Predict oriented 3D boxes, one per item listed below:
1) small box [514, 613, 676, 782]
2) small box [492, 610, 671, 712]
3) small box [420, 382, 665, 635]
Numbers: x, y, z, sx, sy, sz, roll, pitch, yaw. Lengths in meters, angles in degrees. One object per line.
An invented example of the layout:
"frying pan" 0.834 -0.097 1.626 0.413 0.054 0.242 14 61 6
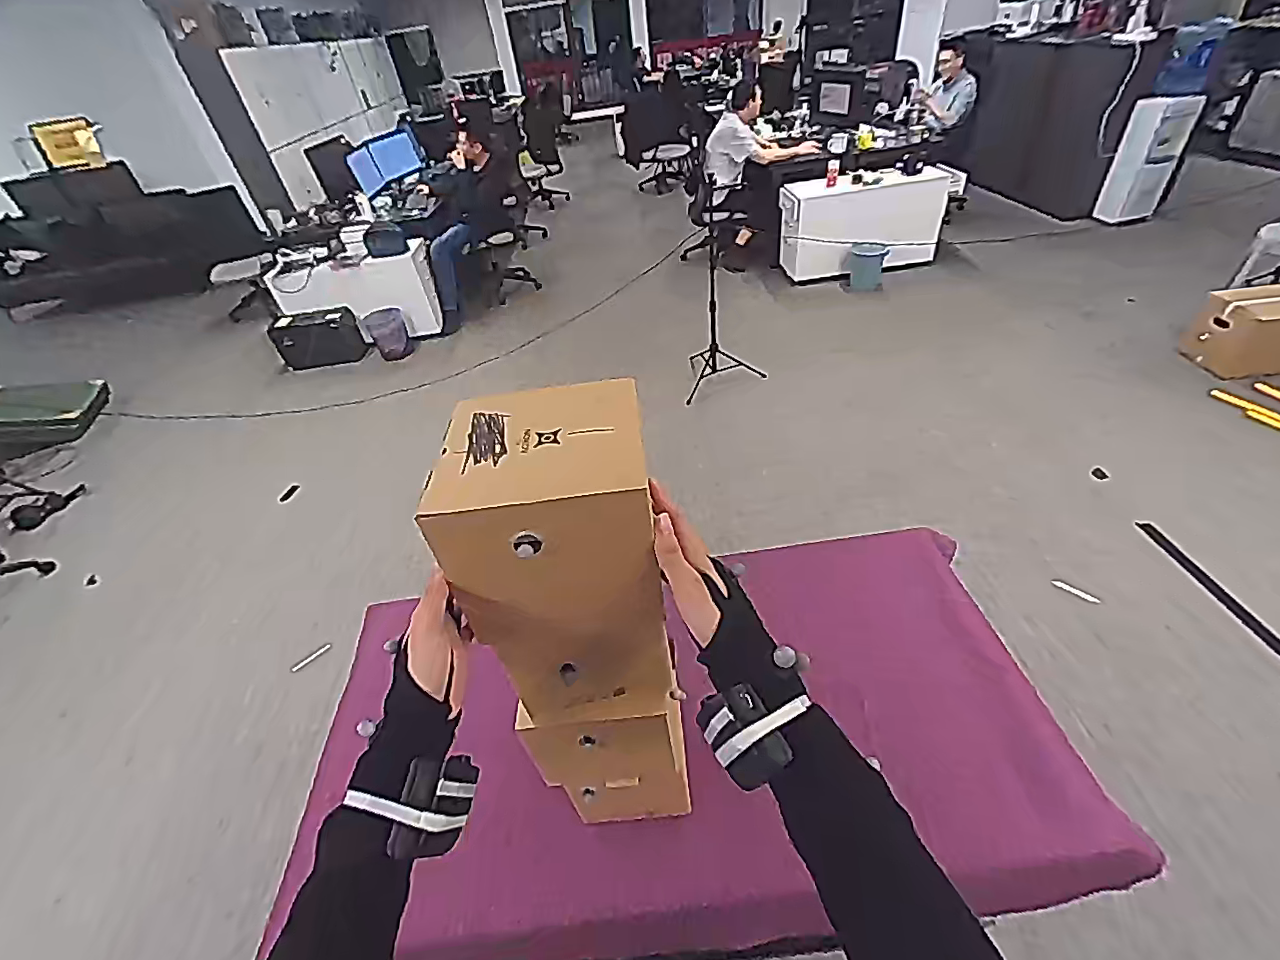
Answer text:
"small box" -0.051 0.281 0.719 0.179 0.176 0.168 -6 40 2
"small box" -0.064 0.146 0.628 0.168 0.176 0.179 -12 39 -4
"small box" -0.075 0.029 0.512 0.179 0.176 0.168 -6 39 1
